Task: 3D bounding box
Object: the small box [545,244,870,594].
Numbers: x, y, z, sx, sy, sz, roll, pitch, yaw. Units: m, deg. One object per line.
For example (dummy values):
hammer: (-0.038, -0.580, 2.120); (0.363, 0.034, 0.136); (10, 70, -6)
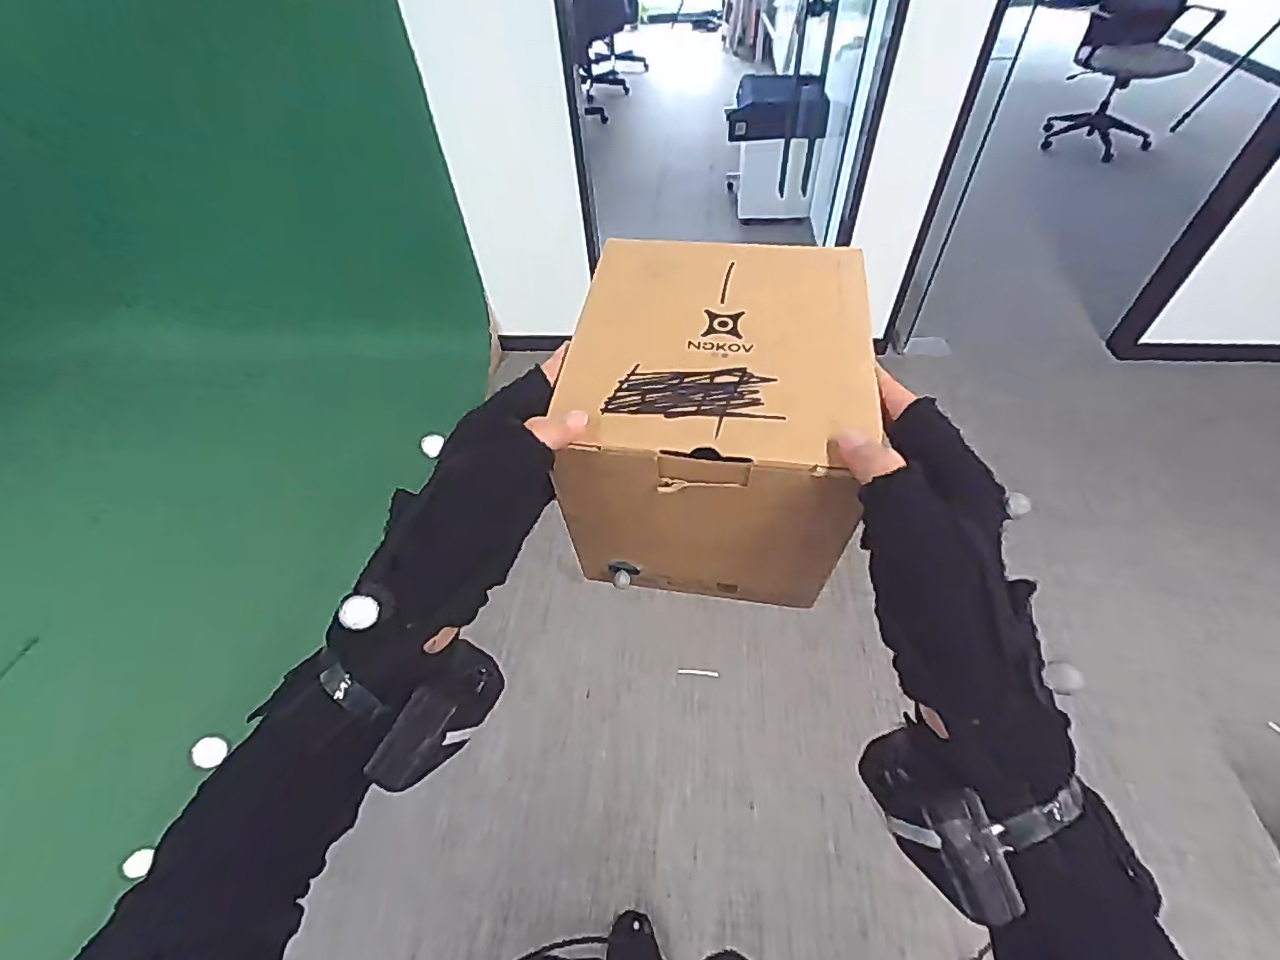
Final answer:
small box: (0.050, -0.037, 0.377); (0.168, 0.176, 0.179); (6, 56, 8)
